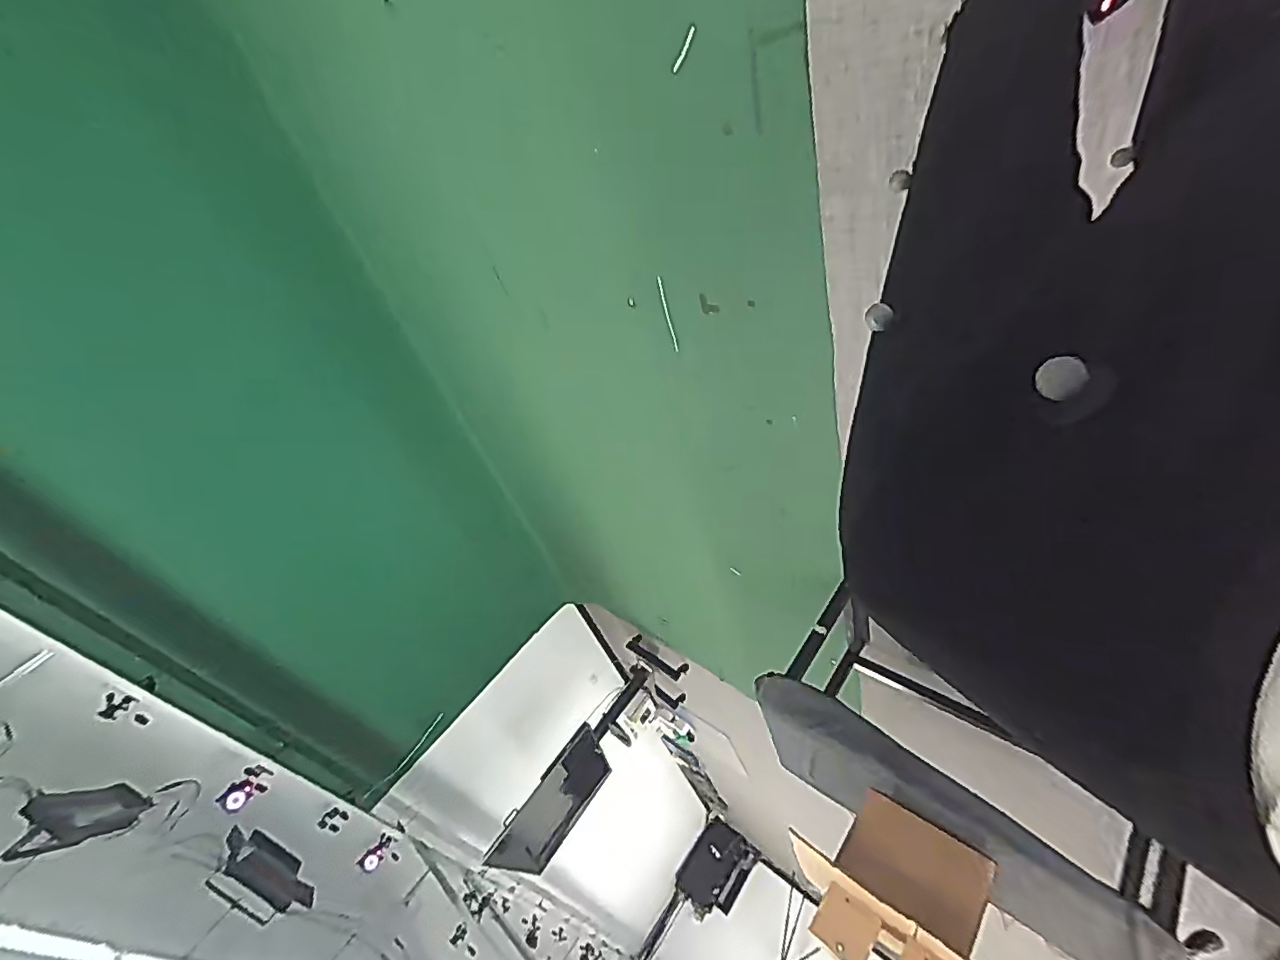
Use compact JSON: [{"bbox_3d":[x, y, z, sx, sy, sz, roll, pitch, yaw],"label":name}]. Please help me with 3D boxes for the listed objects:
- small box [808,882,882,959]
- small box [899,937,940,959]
[{"bbox_3d":[0.666,1.455,1.748,0.168,0.176,0.179,22,146,40],"label":"small box"},{"bbox_3d":[0.839,1.502,1.585,0.168,0.176,0.179,19,142,40],"label":"small box"}]
